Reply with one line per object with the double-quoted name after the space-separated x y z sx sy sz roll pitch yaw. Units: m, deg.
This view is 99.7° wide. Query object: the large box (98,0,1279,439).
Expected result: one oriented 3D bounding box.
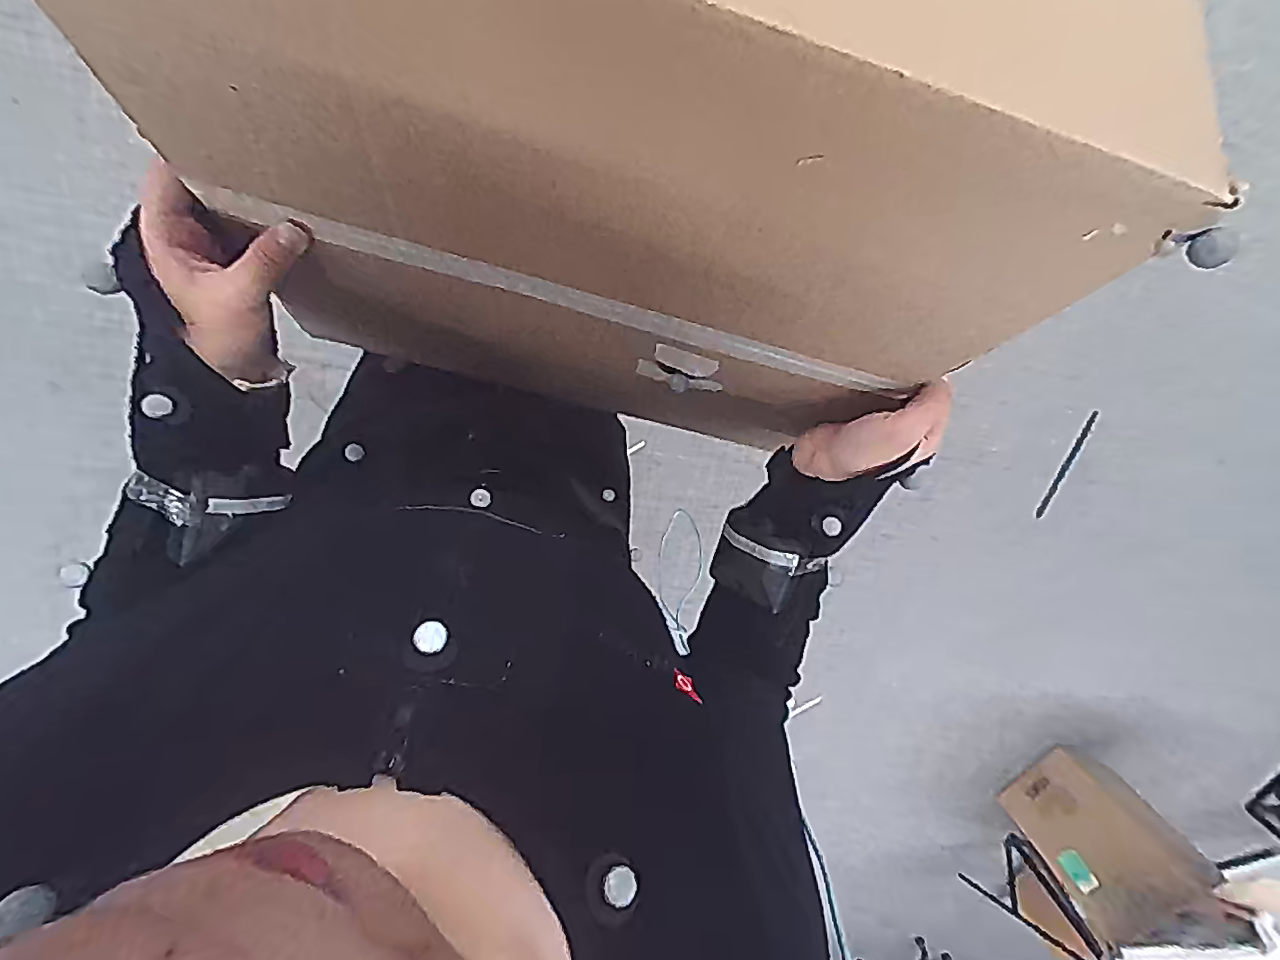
0.012 -0.255 0.313 0.408 0.320 0.320 13 74 -9 "large box"
